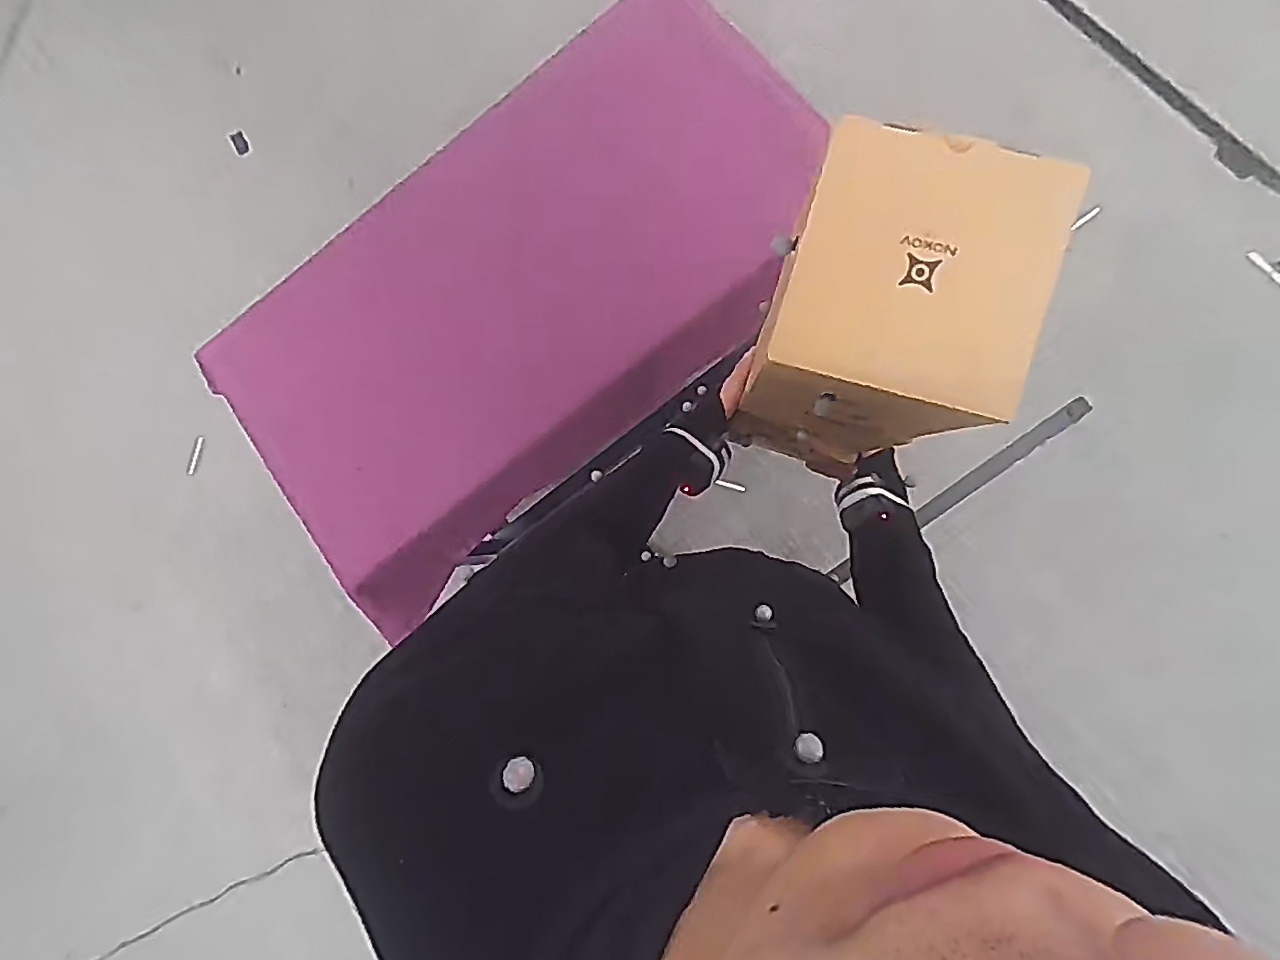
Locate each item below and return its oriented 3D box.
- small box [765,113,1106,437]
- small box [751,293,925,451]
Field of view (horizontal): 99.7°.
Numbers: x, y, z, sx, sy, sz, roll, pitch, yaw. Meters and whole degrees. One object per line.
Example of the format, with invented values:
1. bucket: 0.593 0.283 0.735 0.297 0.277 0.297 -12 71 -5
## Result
1. small box: 0.205 -0.140 0.433 0.168 0.176 0.179 16 91 7
2. small box: 0.228 -0.141 0.594 0.168 0.176 0.179 19 92 7
